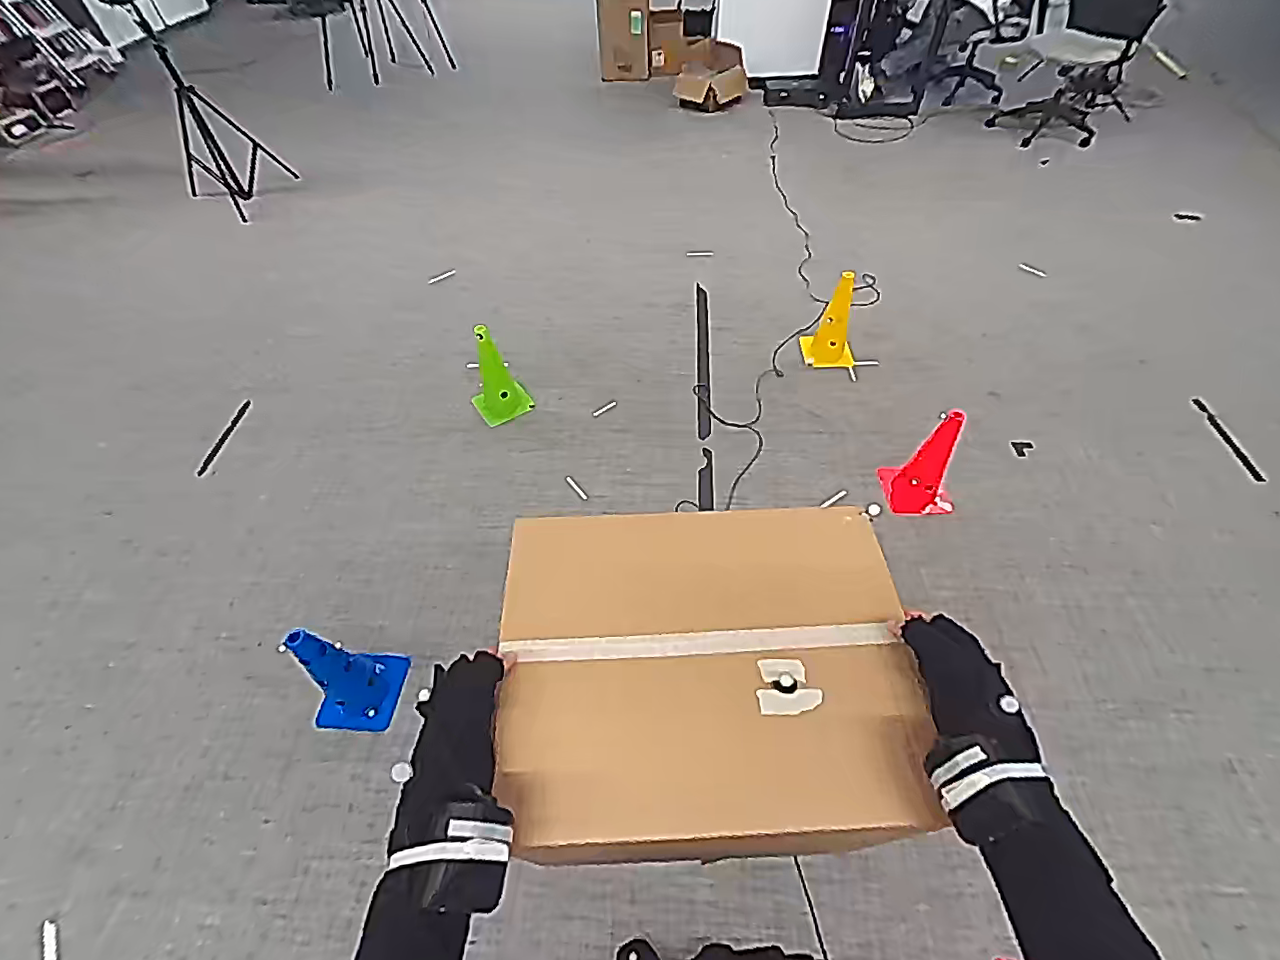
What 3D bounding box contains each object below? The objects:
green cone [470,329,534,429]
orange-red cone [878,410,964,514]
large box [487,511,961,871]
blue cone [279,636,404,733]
[{"bbox_3d":[-0.555,-0.405,2.013,0.202,0.368,0.200,-31,55,-18],"label":"green cone"},{"bbox_3d":[0.910,-0.078,1.679,0.198,0.360,0.199,-1,50,1],"label":"orange-red cone"},{"bbox_3d":[0.063,0.258,0.649,0.408,0.320,0.320,-2,52,-2],"label":"large box"},{"bbox_3d":[-0.756,0.477,1.333,0.192,0.380,0.193,2,51,6],"label":"blue cone"}]
